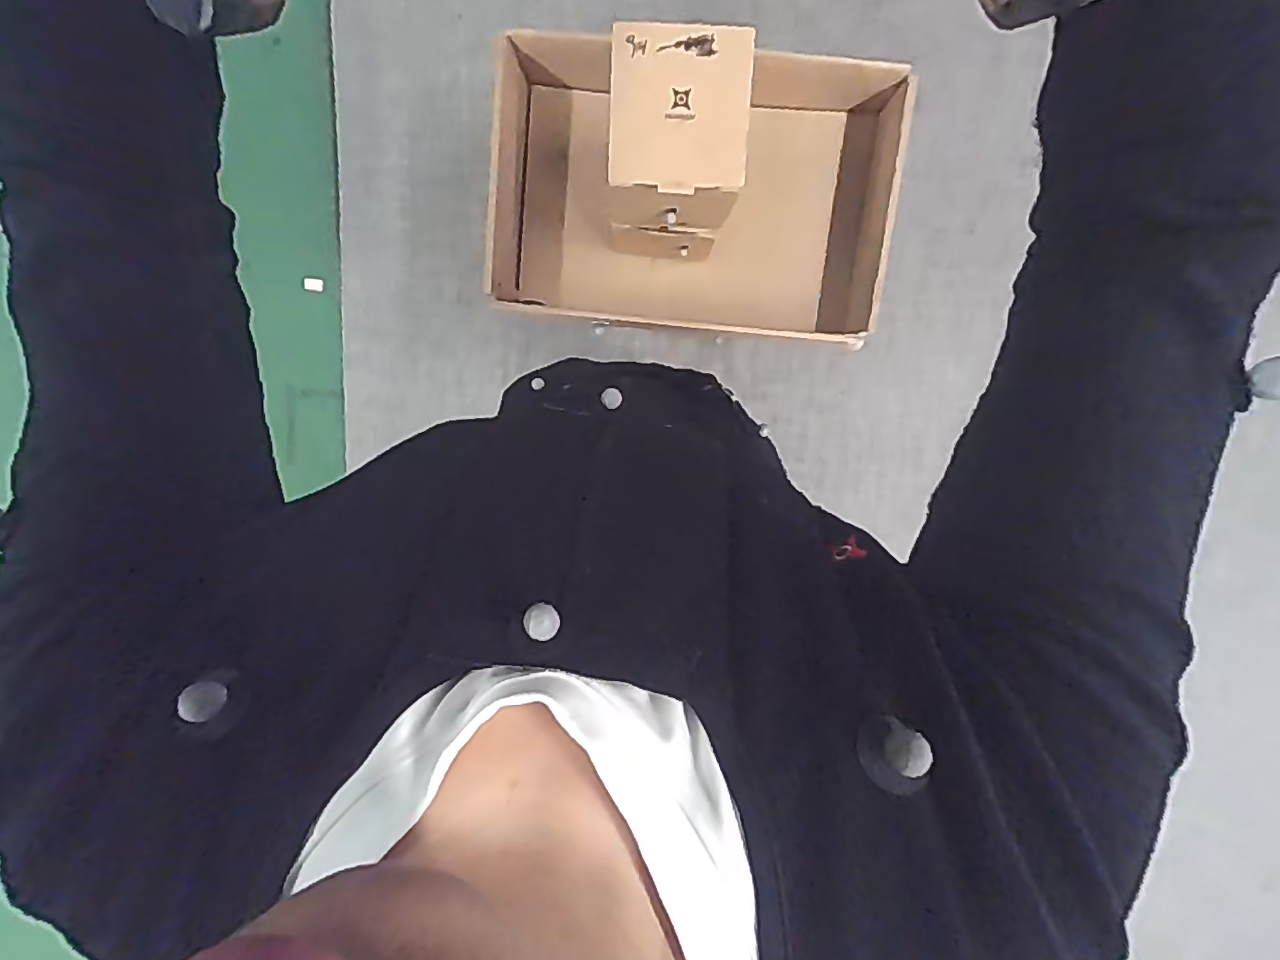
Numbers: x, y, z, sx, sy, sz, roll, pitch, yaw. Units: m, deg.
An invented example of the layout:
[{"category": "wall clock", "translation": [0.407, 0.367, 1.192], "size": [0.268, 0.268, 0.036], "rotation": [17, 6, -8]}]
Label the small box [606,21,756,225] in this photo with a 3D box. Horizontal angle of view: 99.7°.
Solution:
[{"category": "small box", "translation": [0.047, -0.448, 0.709], "size": [0.168, 0.176, 0.179], "rotation": [3, 101, -1]}]

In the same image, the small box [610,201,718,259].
[{"category": "small box", "translation": [0.045, -0.470, 0.872], "size": [0.168, 0.176, 0.179], "rotation": [5, 98, -1]}]
